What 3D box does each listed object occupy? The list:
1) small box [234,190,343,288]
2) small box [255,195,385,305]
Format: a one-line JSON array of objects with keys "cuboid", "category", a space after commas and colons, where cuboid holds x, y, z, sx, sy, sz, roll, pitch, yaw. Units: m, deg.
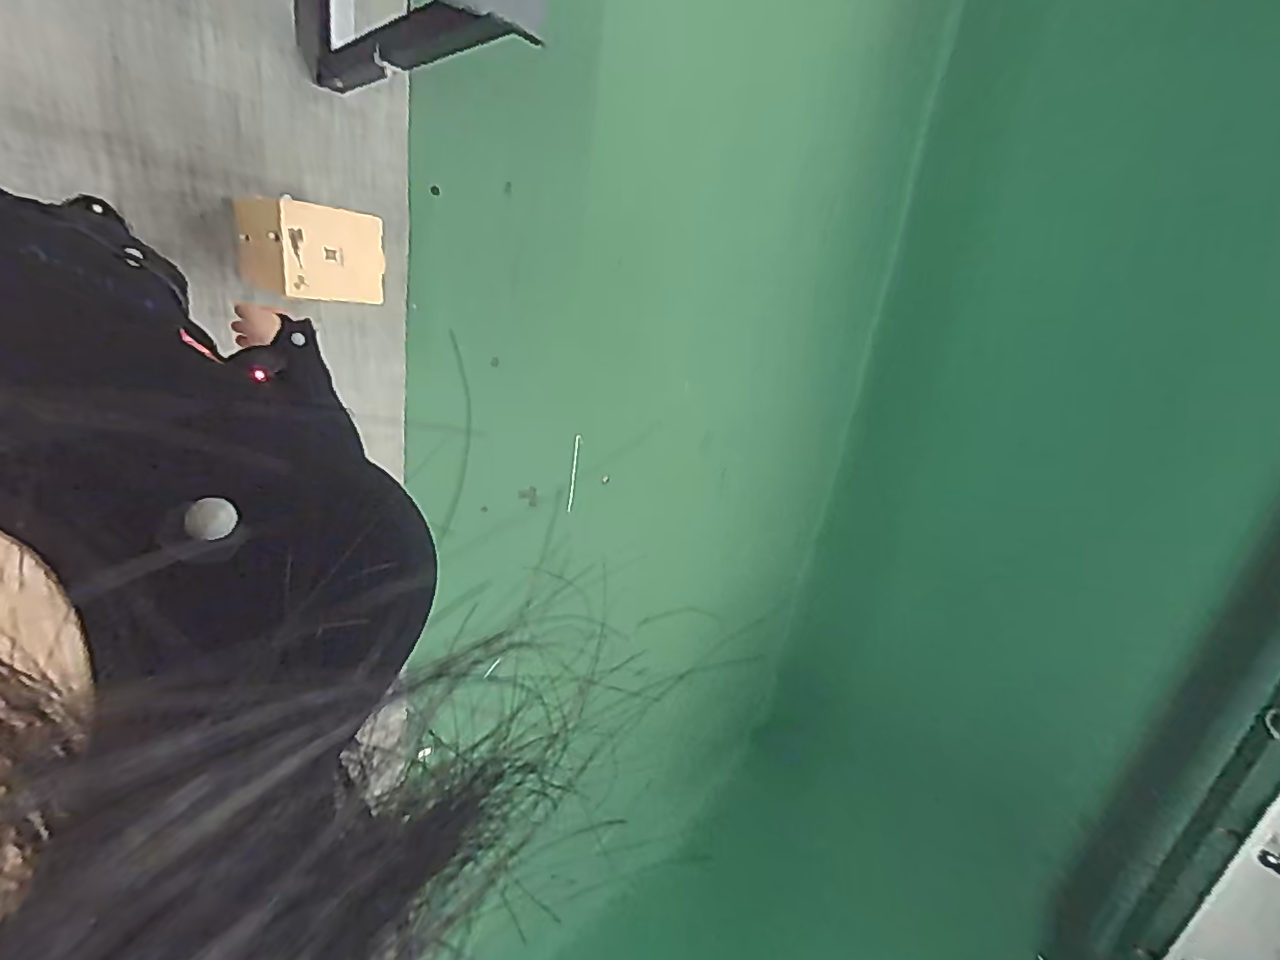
[{"cuboid": [-0.744, -0.504, 1.154, 0.168, 0.176, 0.179, -13, 118, -45], "category": "small box"}, {"cuboid": [-0.624, -0.448, 1.055, 0.179, 0.176, 0.168, -10, 118, -46], "category": "small box"}]
